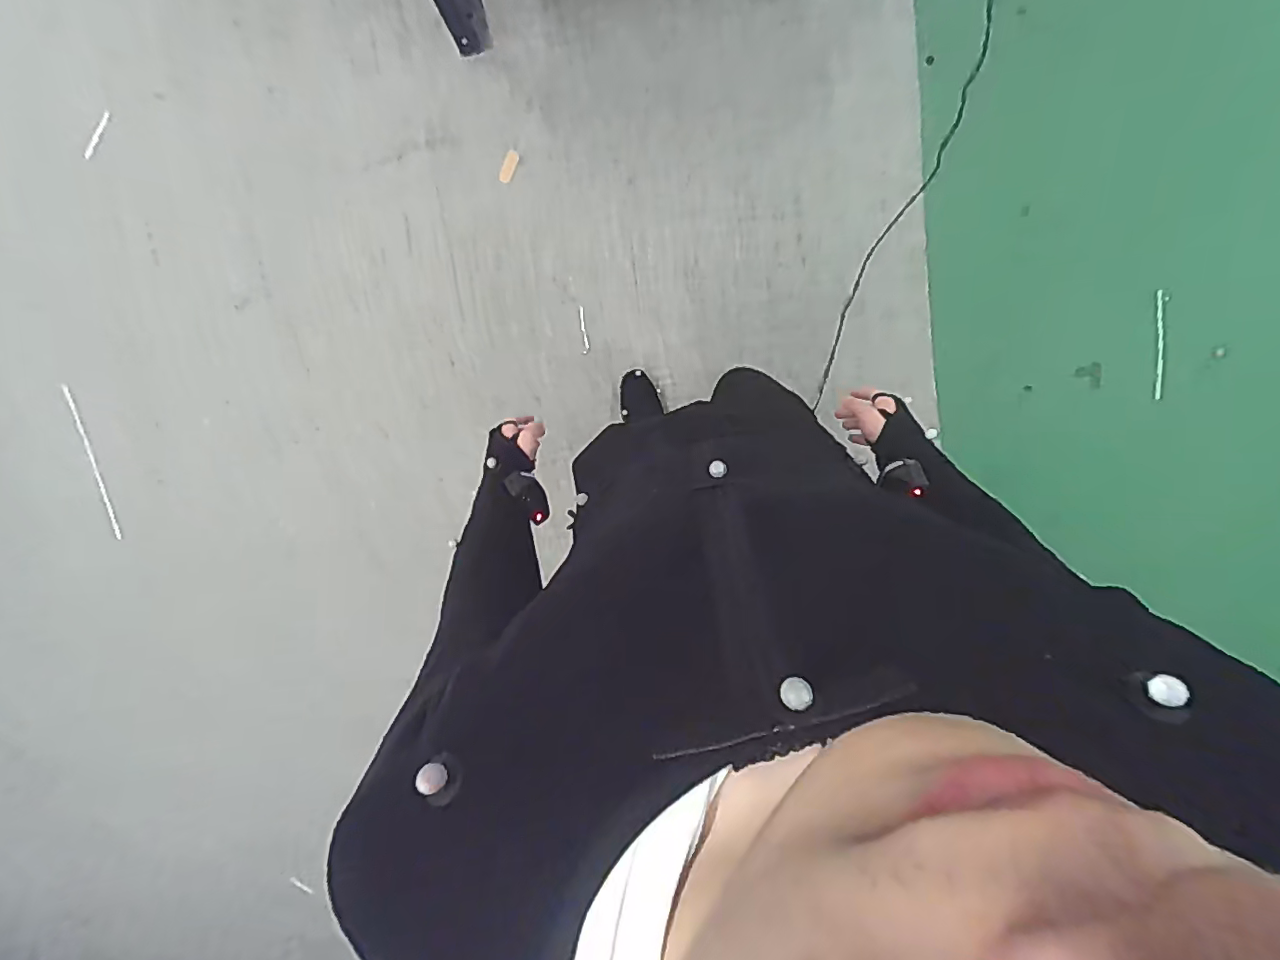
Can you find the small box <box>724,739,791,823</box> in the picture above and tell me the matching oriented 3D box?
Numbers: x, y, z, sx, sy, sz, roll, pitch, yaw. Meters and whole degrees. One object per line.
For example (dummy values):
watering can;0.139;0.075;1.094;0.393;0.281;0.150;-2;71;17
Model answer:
small box;0.366;0.940;1.701;0.179;0.176;0.168;-4;100;2
